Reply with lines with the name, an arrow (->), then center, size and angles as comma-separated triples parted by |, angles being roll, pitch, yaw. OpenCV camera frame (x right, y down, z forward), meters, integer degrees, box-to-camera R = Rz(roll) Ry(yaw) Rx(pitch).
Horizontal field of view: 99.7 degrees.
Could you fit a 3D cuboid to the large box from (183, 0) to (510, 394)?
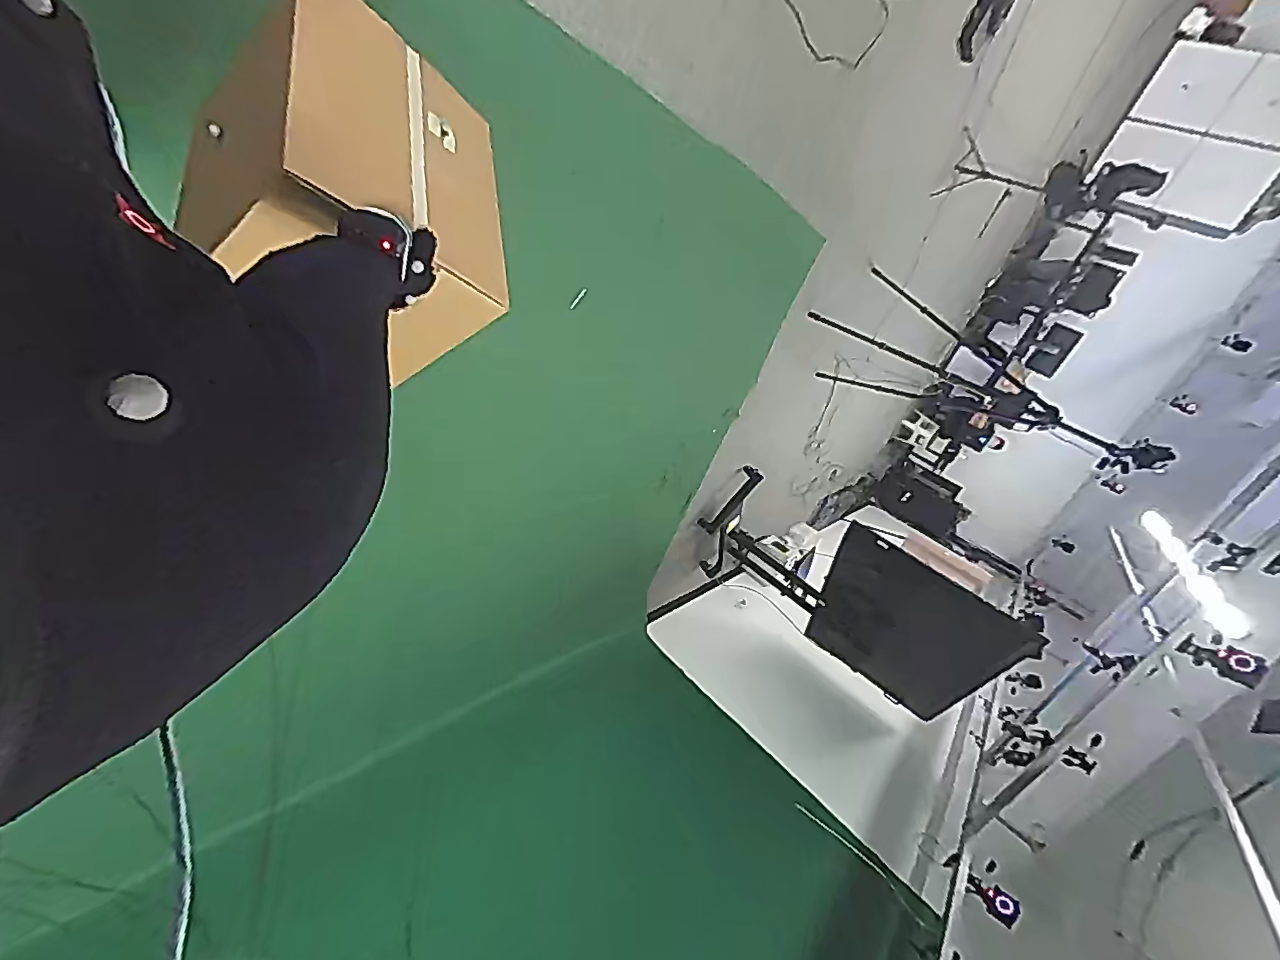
large box -> -0.437, -0.405, 0.824 | 0.320, 0.408, 0.320 | -23, 156, 27
